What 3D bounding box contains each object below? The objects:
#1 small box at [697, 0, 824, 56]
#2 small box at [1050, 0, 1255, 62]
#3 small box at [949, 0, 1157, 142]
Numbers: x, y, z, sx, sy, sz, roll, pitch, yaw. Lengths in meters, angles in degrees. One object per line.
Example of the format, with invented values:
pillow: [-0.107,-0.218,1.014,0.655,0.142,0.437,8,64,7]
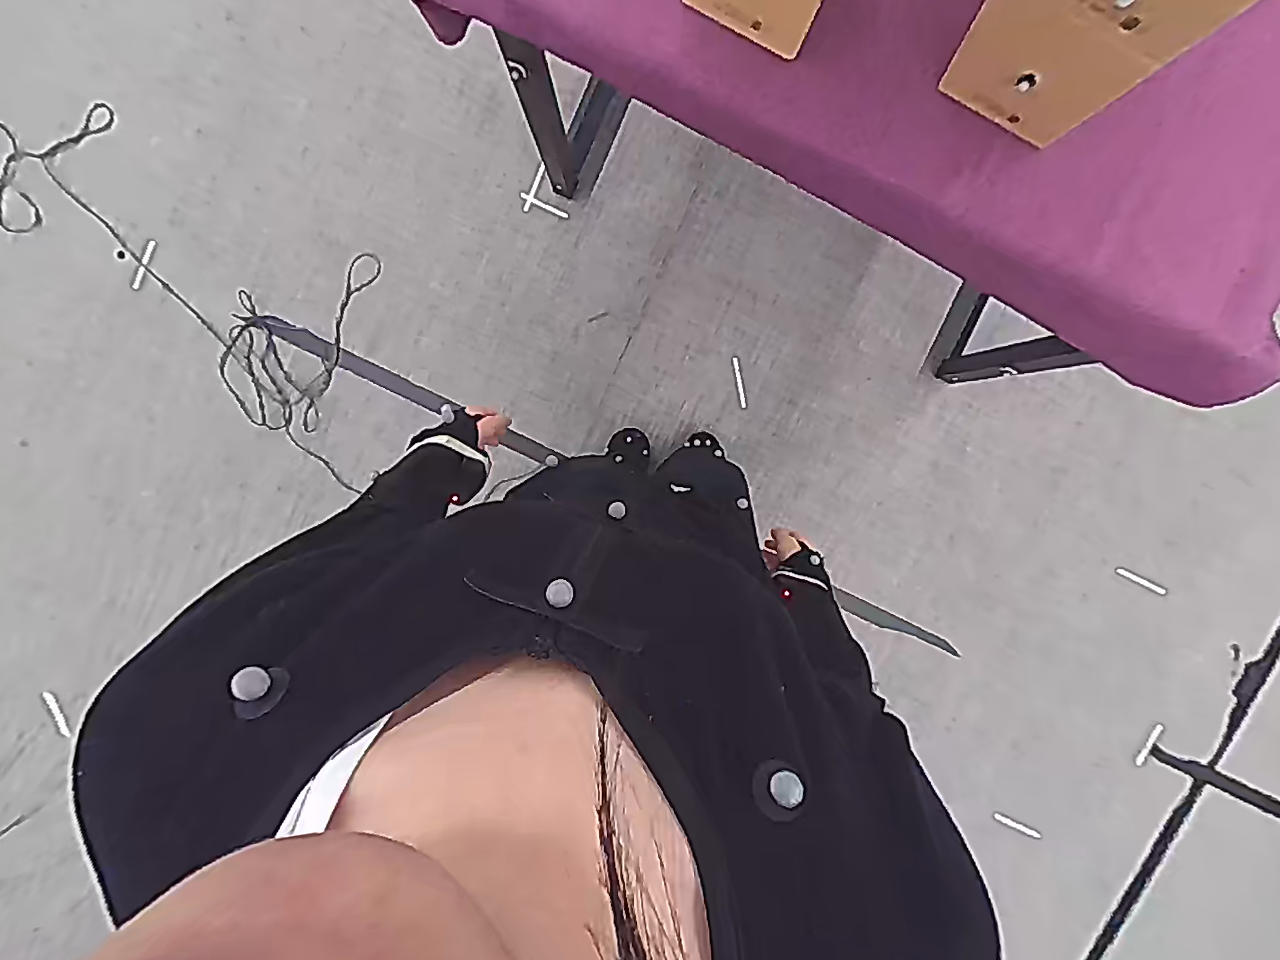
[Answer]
small box: [0.166,-0.654,0.624,0.168,0.176,0.179,26,94,-3]
small box: [0.510,-0.533,0.470,0.168,0.176,0.179,28,95,-3]
small box: [0.505,-0.547,0.634,0.168,0.176,0.179,28,94,-3]
